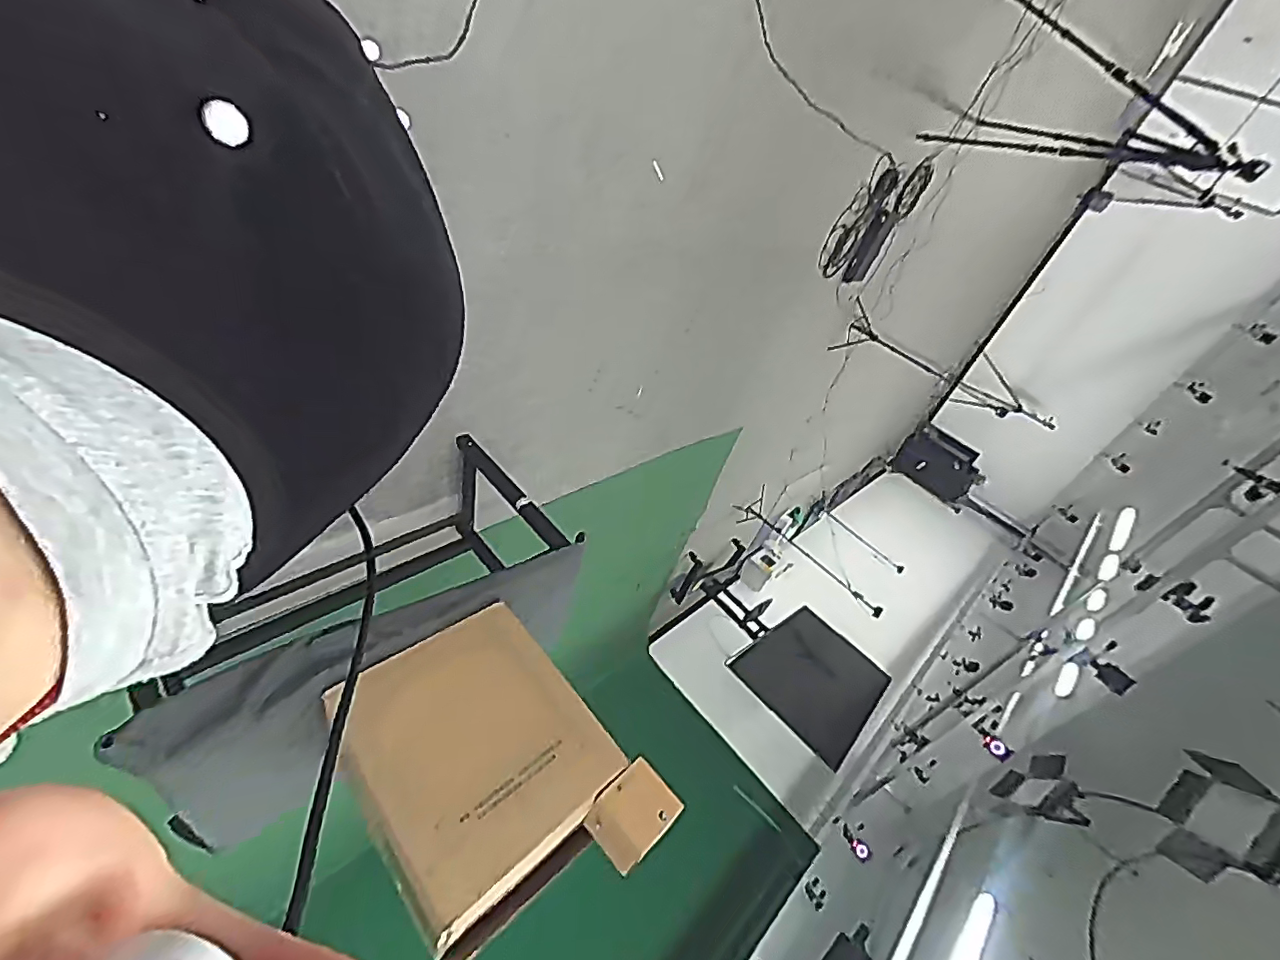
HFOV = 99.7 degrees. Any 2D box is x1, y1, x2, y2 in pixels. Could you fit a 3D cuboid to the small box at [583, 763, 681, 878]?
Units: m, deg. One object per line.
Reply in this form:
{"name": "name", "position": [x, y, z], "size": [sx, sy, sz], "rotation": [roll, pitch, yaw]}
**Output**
{"name": "small box", "position": [-0.028, 0.889, 1.424], "size": [0.168, 0.176, 0.179], "rotation": [-26, 147, -44]}
